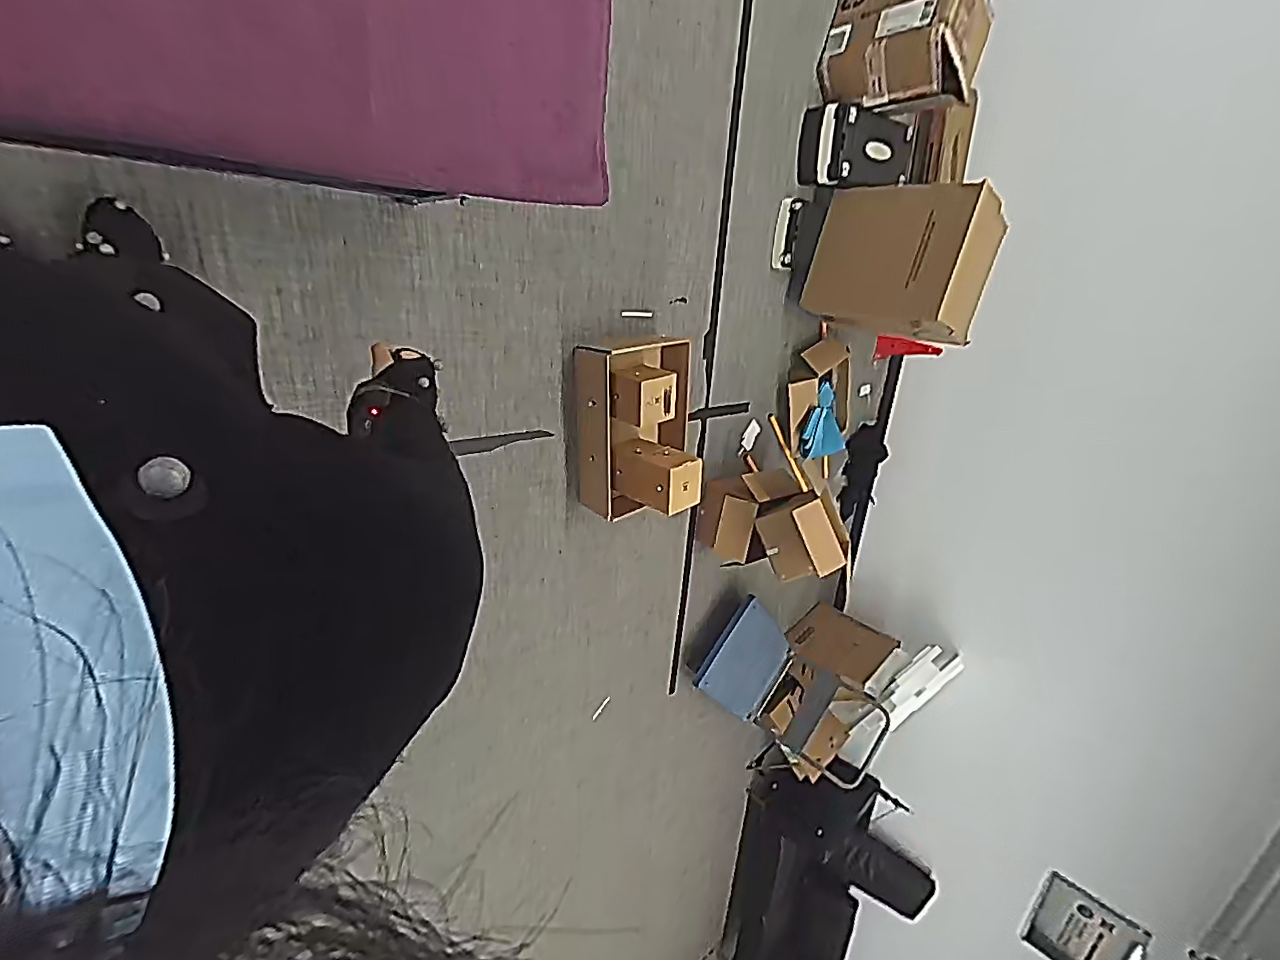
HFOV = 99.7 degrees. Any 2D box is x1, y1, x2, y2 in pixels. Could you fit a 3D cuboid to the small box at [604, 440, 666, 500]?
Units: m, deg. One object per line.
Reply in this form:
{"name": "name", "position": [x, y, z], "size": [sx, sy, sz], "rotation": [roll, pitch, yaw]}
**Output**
{"name": "small box", "position": [-0.021, -0.042, 2.037], "size": [0.179, 0.176, 0.168], "rotation": [-19, 121, -41]}

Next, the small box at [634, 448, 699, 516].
{"name": "small box", "position": [0.090, 0.003, 1.927], "size": [0.168, 0.176, 0.179], "rotation": [-19, 120, -40]}
